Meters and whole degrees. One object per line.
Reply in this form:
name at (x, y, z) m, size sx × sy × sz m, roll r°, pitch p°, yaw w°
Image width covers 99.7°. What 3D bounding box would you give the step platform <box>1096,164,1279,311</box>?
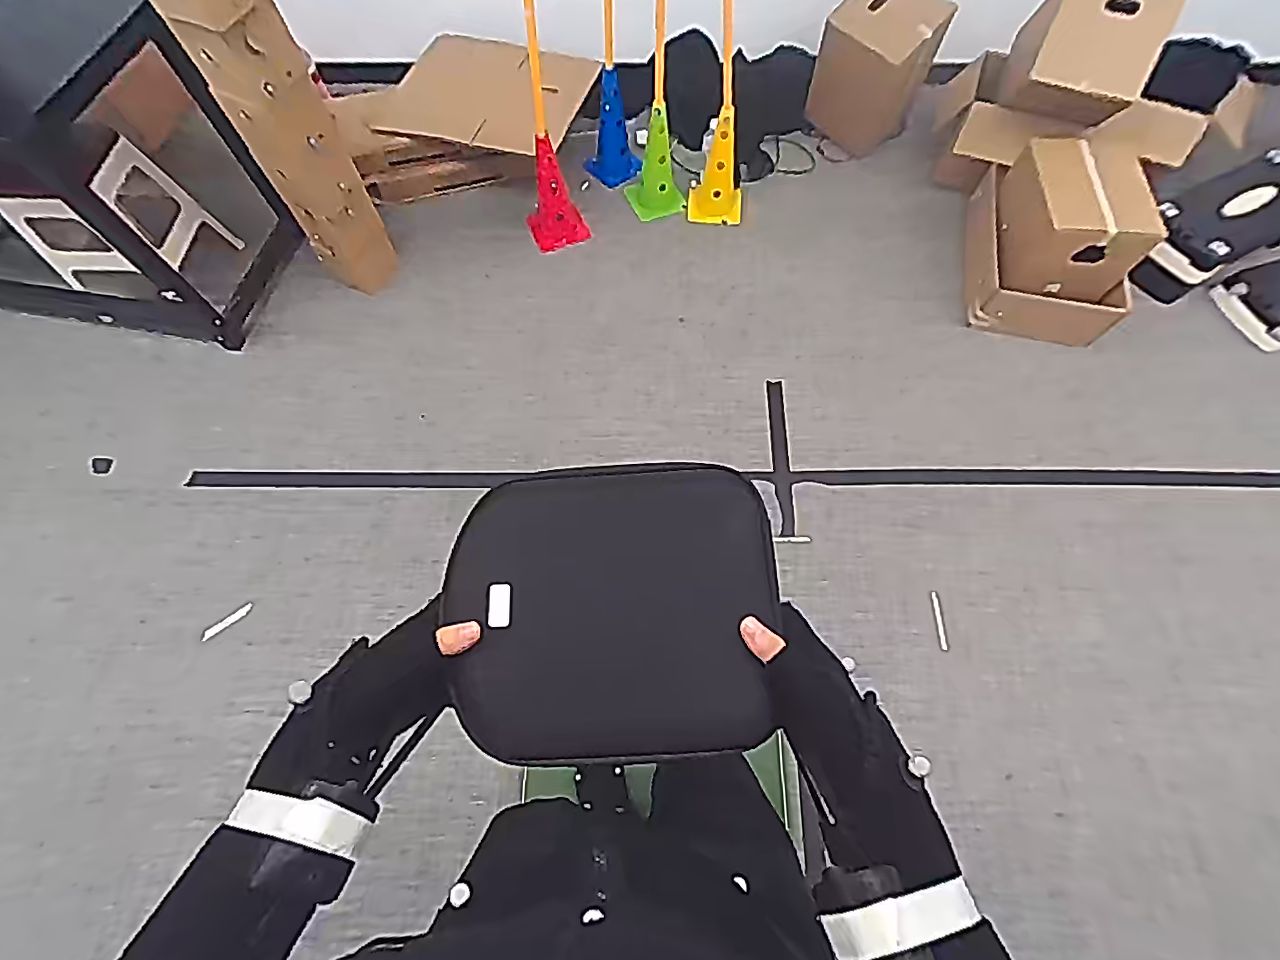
step platform at (2.006, -0.861, 1.906) m, size 0.684 × 0.204 × 0.286 m, roll -26°, pitch 69°, yaw -11°
